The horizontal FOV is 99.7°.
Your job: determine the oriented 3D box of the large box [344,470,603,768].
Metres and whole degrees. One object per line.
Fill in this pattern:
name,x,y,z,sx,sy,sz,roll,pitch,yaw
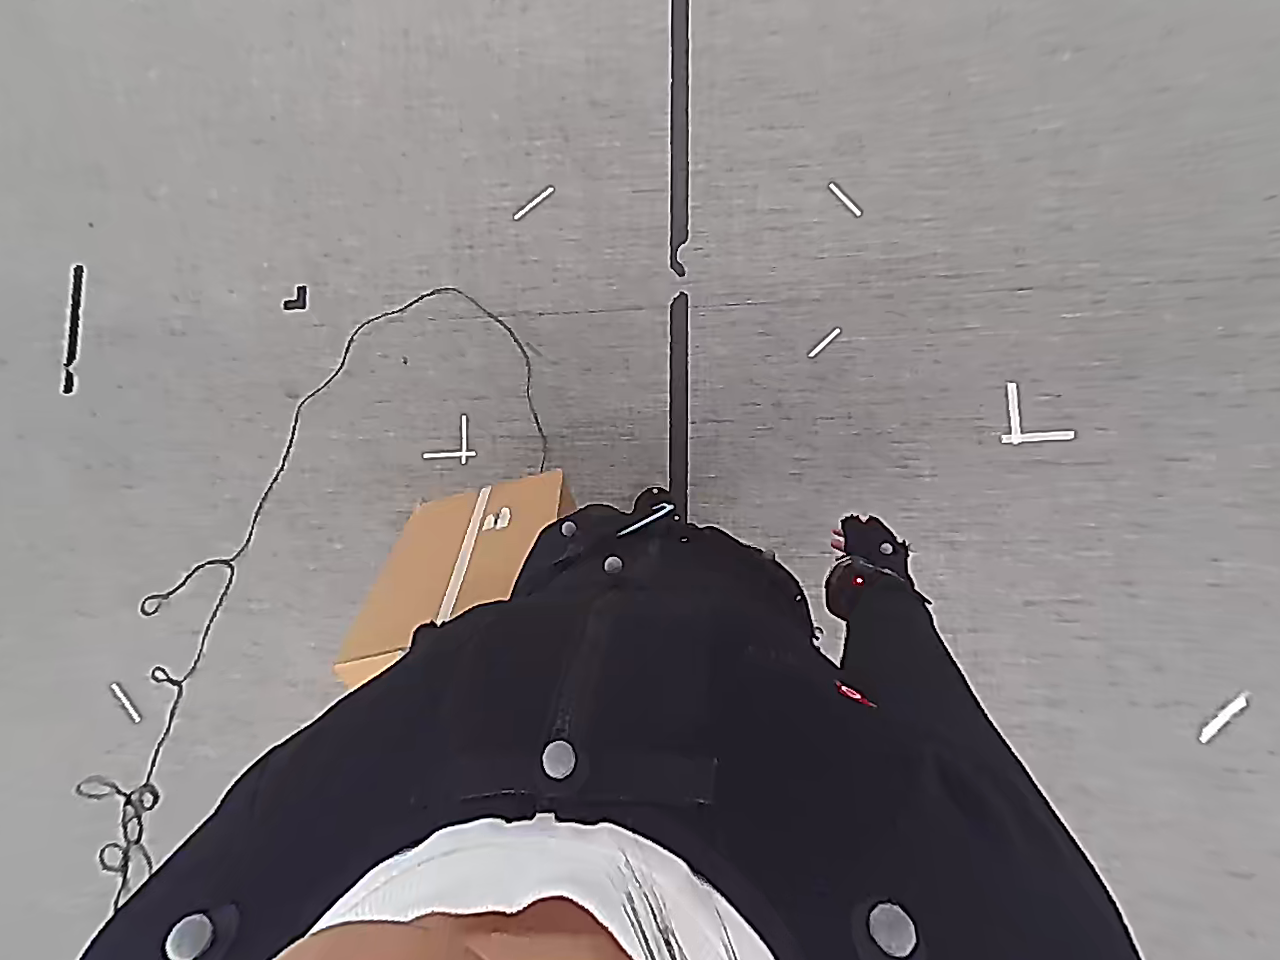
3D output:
large box,-0.258,0.239,1.007,0.320,0.408,0.320,-12,121,5
